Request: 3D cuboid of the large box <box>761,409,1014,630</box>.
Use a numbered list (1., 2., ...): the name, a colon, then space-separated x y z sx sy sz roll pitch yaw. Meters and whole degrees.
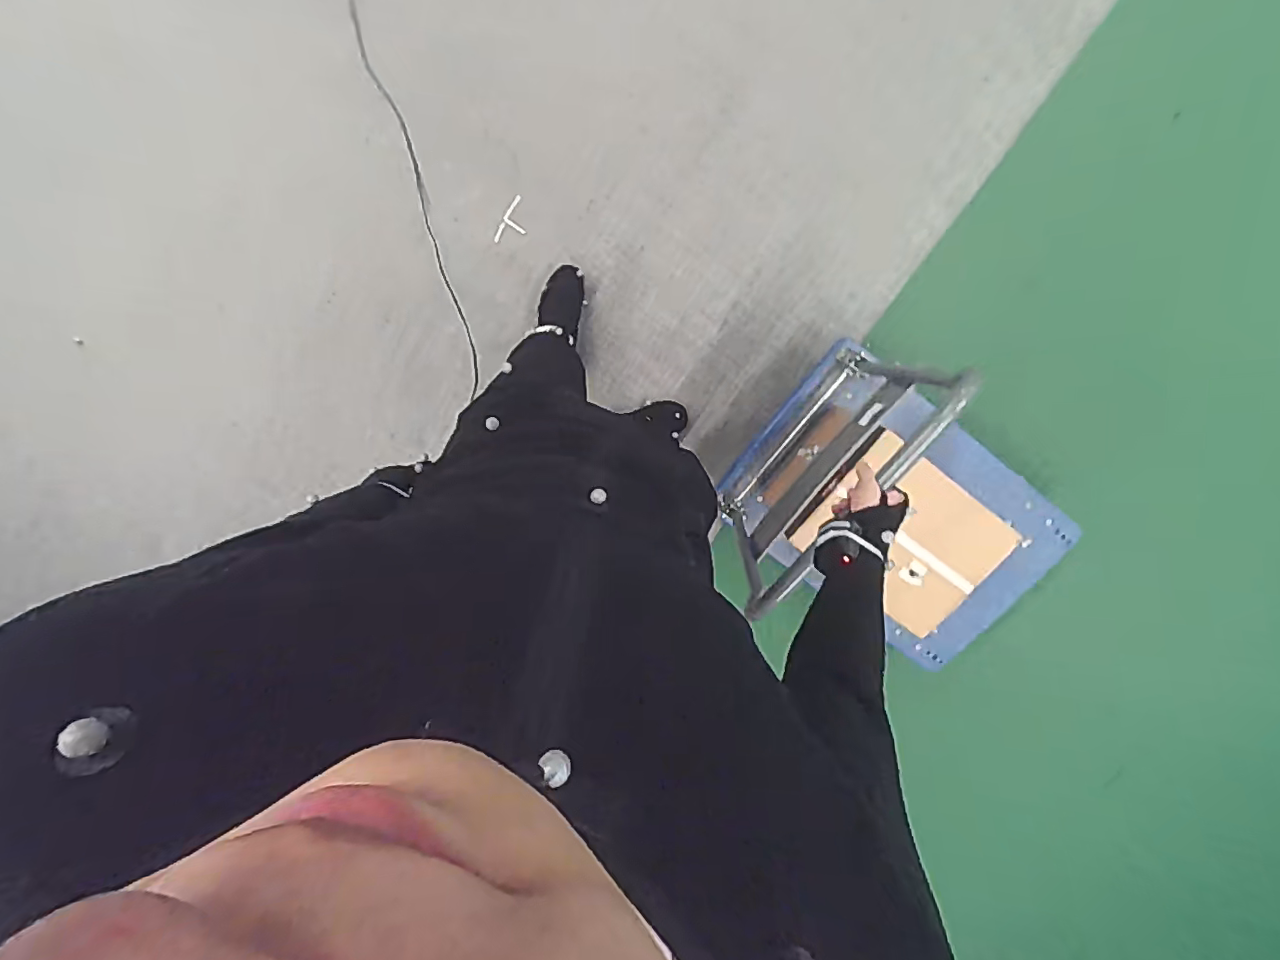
1. large box: 0.569 0.077 1.323 0.408 0.320 0.320 36 104 -9
